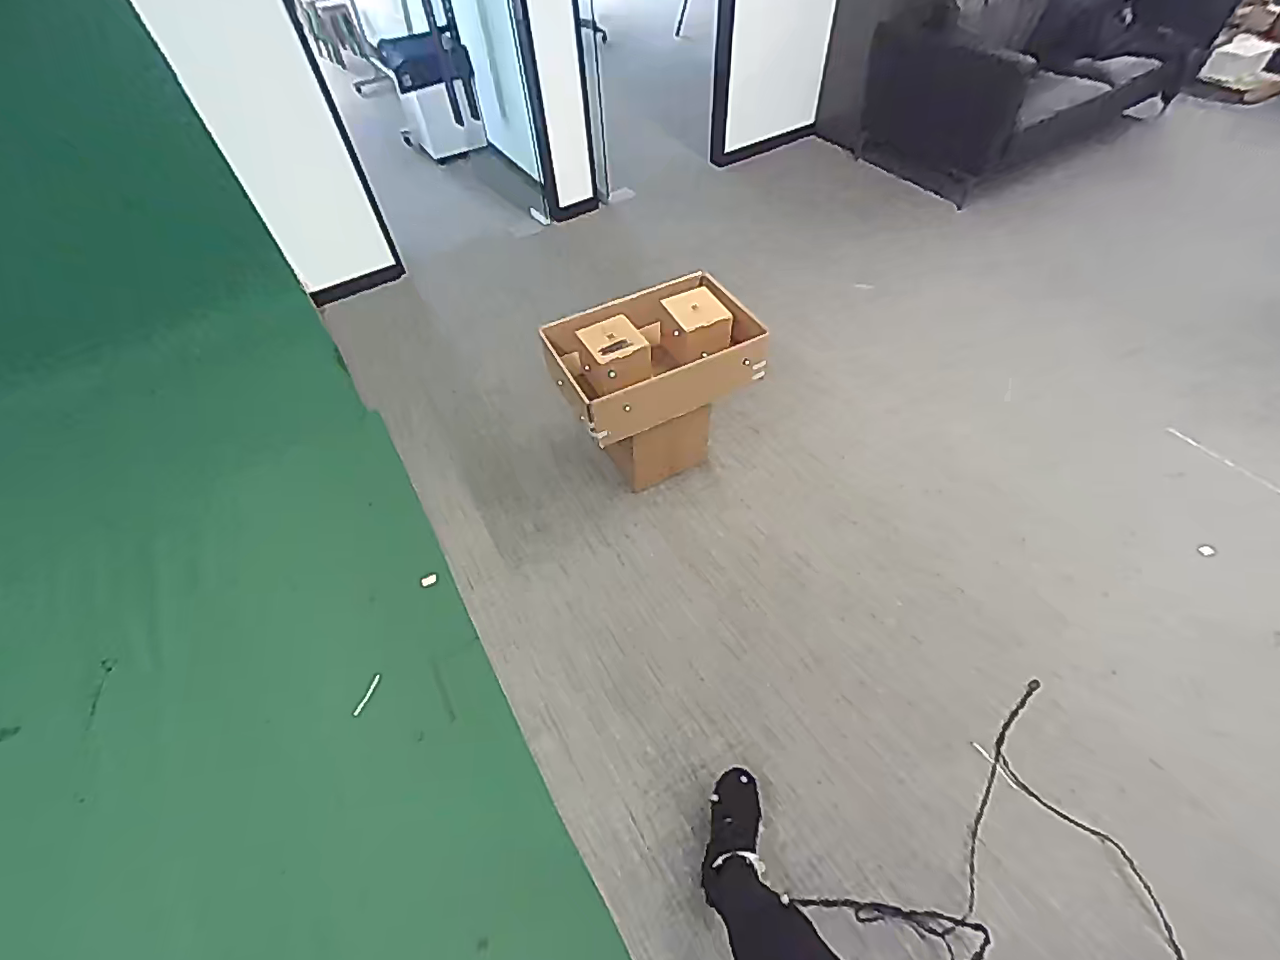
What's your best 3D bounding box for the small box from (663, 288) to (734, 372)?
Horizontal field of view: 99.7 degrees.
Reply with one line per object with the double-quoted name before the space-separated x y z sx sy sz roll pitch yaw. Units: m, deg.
"small box" 0.179 -0.479 1.732 0.168 0.176 0.179 -22 55 -14
